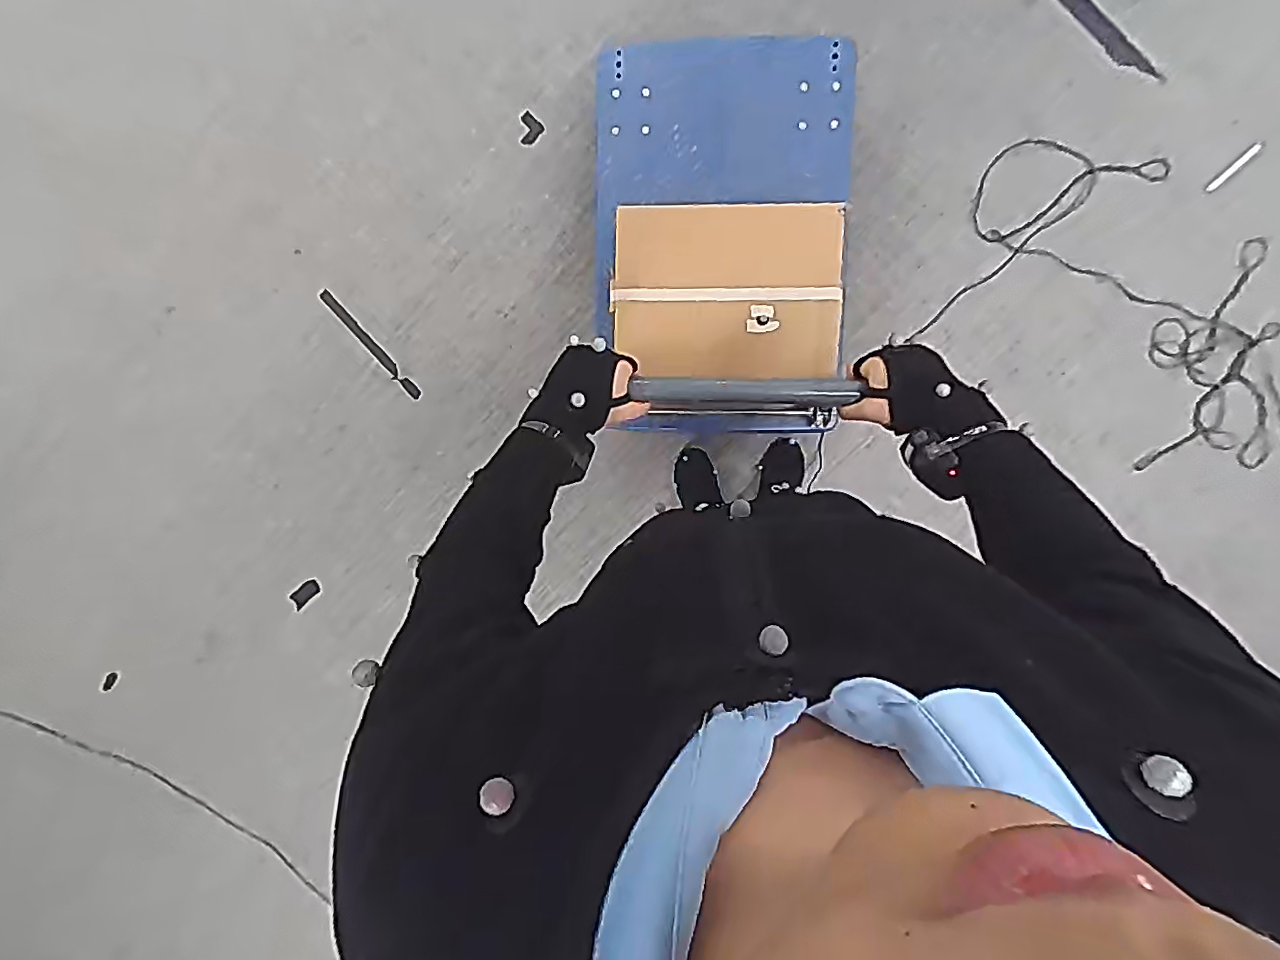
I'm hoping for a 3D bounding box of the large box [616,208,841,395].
[{"bbox_3d":[0.164,-0.343,1.126,0.408,0.320,0.320,1,97,4],"label":"large box"}]
